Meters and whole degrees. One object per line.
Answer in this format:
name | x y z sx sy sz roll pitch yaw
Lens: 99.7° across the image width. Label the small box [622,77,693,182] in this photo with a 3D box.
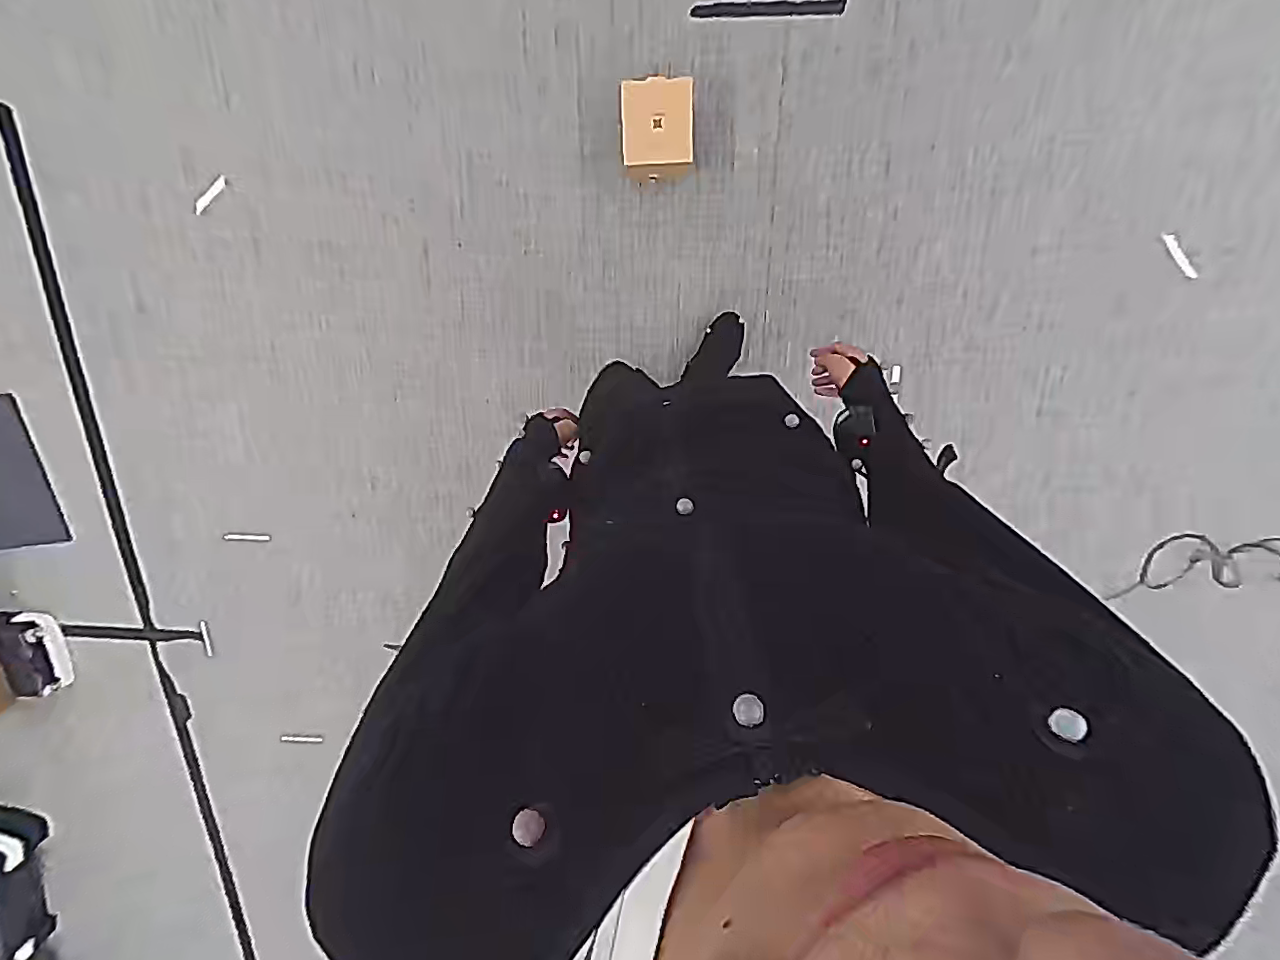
small box | 0.042 -0.846 1.321 0.168 0.176 0.179 -1 107 3
